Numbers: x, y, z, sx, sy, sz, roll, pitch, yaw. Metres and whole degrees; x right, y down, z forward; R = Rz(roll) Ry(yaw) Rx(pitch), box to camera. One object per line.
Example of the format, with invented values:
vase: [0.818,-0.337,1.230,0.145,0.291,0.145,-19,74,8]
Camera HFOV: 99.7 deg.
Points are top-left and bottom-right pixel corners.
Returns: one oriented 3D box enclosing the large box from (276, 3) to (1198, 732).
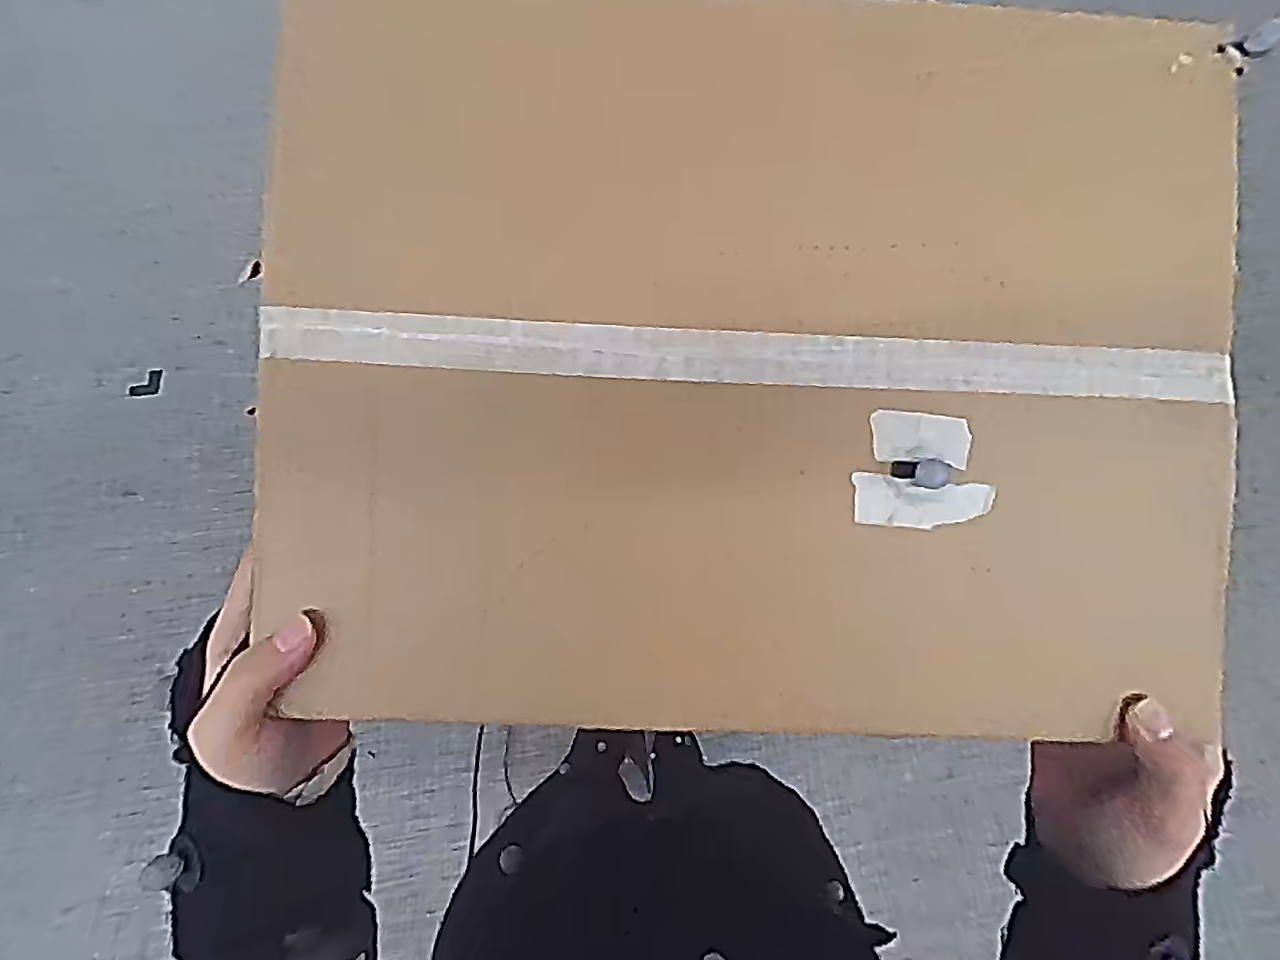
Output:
large box: [0.040,-0.045,0.384,0.408,0.320,0.320,1,90,-3]
